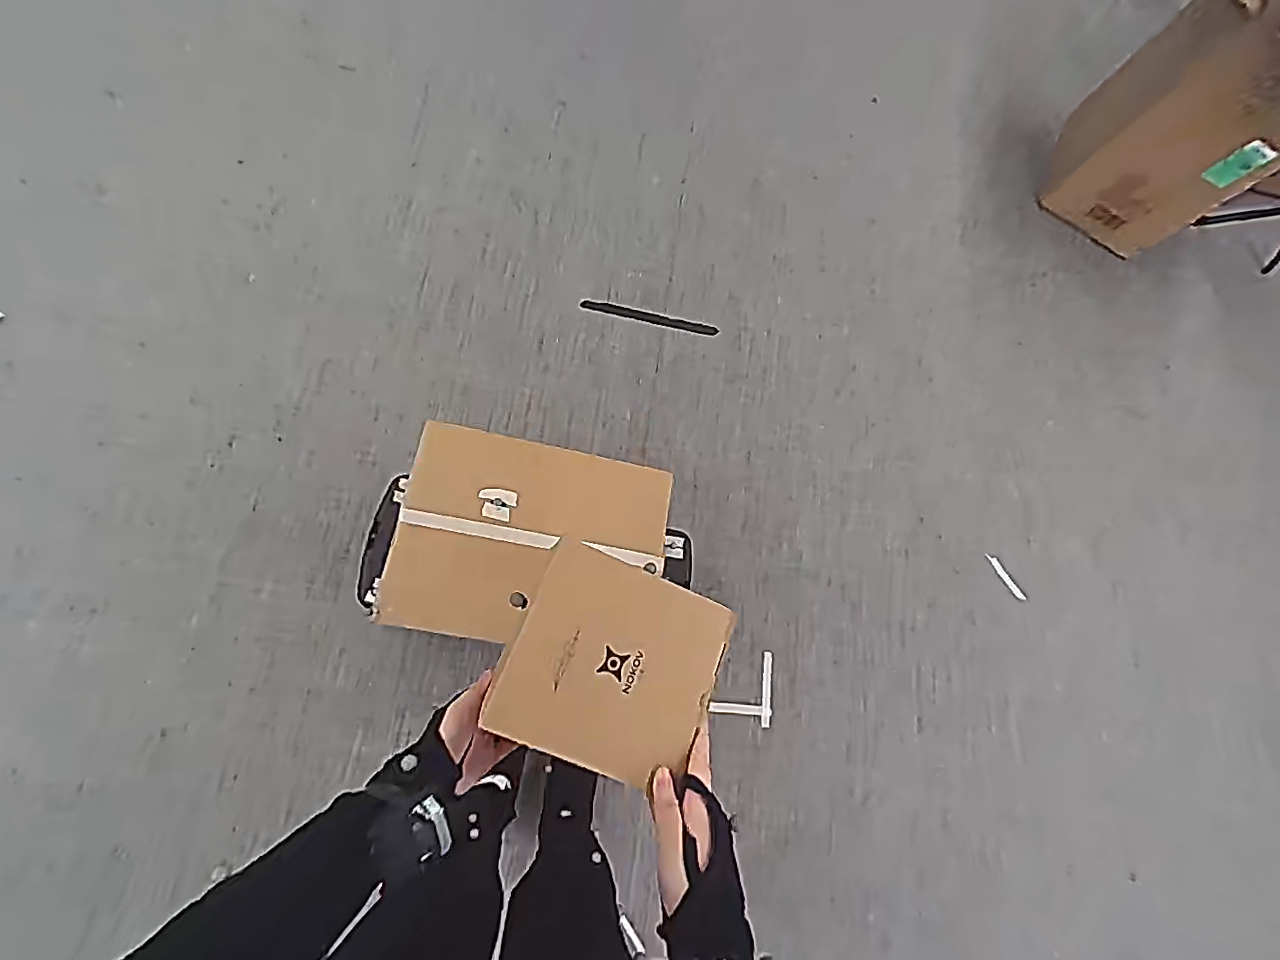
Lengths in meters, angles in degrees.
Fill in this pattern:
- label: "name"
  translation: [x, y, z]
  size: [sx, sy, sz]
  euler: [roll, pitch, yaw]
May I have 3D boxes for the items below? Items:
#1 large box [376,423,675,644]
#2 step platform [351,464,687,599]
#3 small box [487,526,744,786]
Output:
- label: "large box"
  translation: [-0.179, 0.127, 0.964]
  size: [0.408, 0.320, 0.320]
  euler: [12, 74, -7]
- label: "step platform"
  translation: [-0.242, 0.197, 1.185]
  size: [0.684, 0.204, 0.286]
  euler: [17, 74, -5]
- label: "small box"
  translation: [-0.031, 0.162, 0.531]
  size: [0.179, 0.176, 0.168]
  euler: [26, 73, -7]
